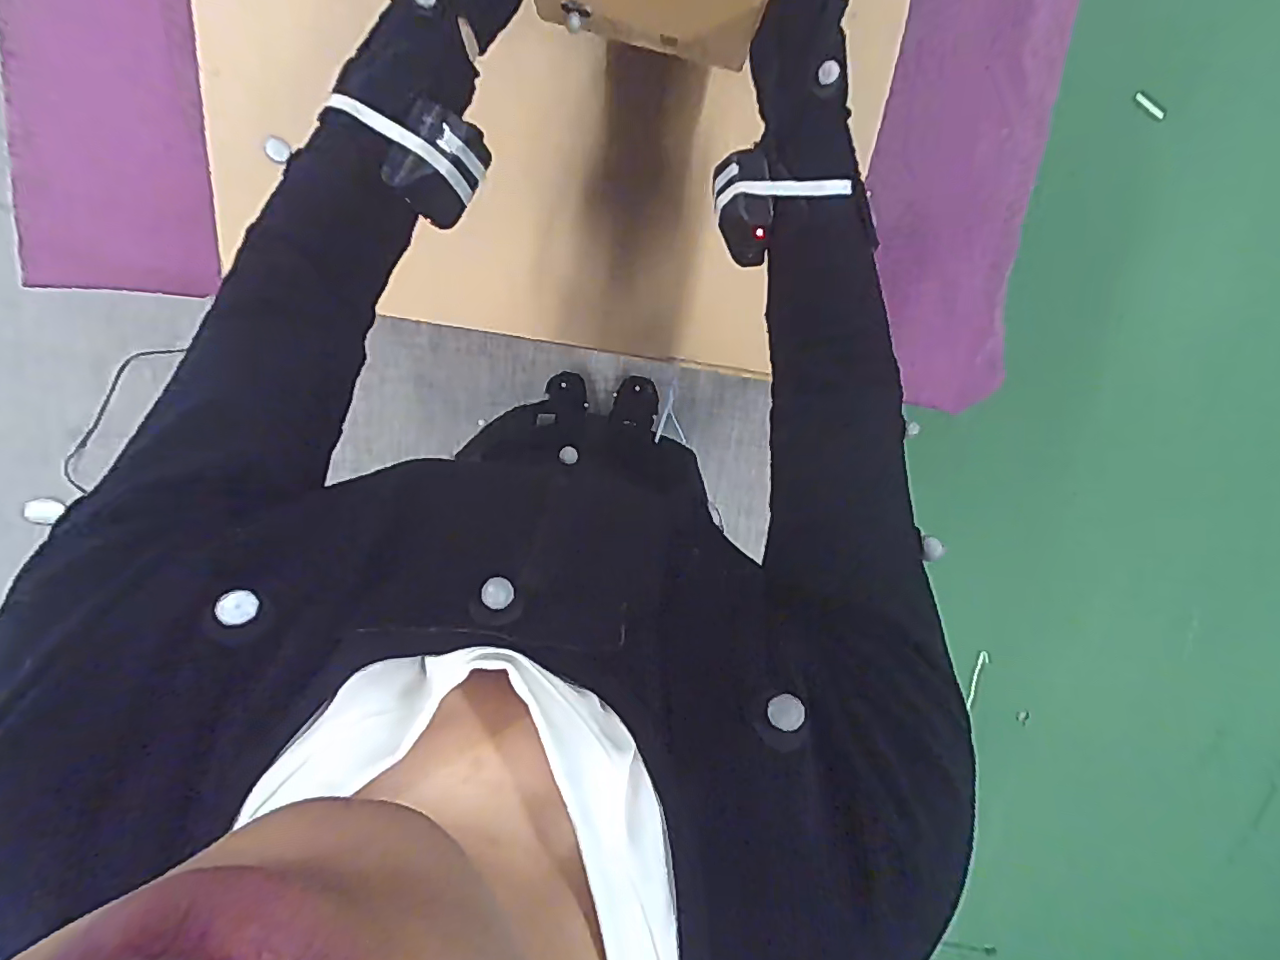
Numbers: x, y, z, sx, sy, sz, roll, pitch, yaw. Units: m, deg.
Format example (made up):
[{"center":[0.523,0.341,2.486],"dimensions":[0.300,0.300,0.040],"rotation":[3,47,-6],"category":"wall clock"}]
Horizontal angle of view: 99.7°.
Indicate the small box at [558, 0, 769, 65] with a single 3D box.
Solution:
[{"center":[0.024,-0.403,0.331],"dimensions":[0.168,0.176,0.179],"rotation":[12,104,-4],"category":"small box"}]
